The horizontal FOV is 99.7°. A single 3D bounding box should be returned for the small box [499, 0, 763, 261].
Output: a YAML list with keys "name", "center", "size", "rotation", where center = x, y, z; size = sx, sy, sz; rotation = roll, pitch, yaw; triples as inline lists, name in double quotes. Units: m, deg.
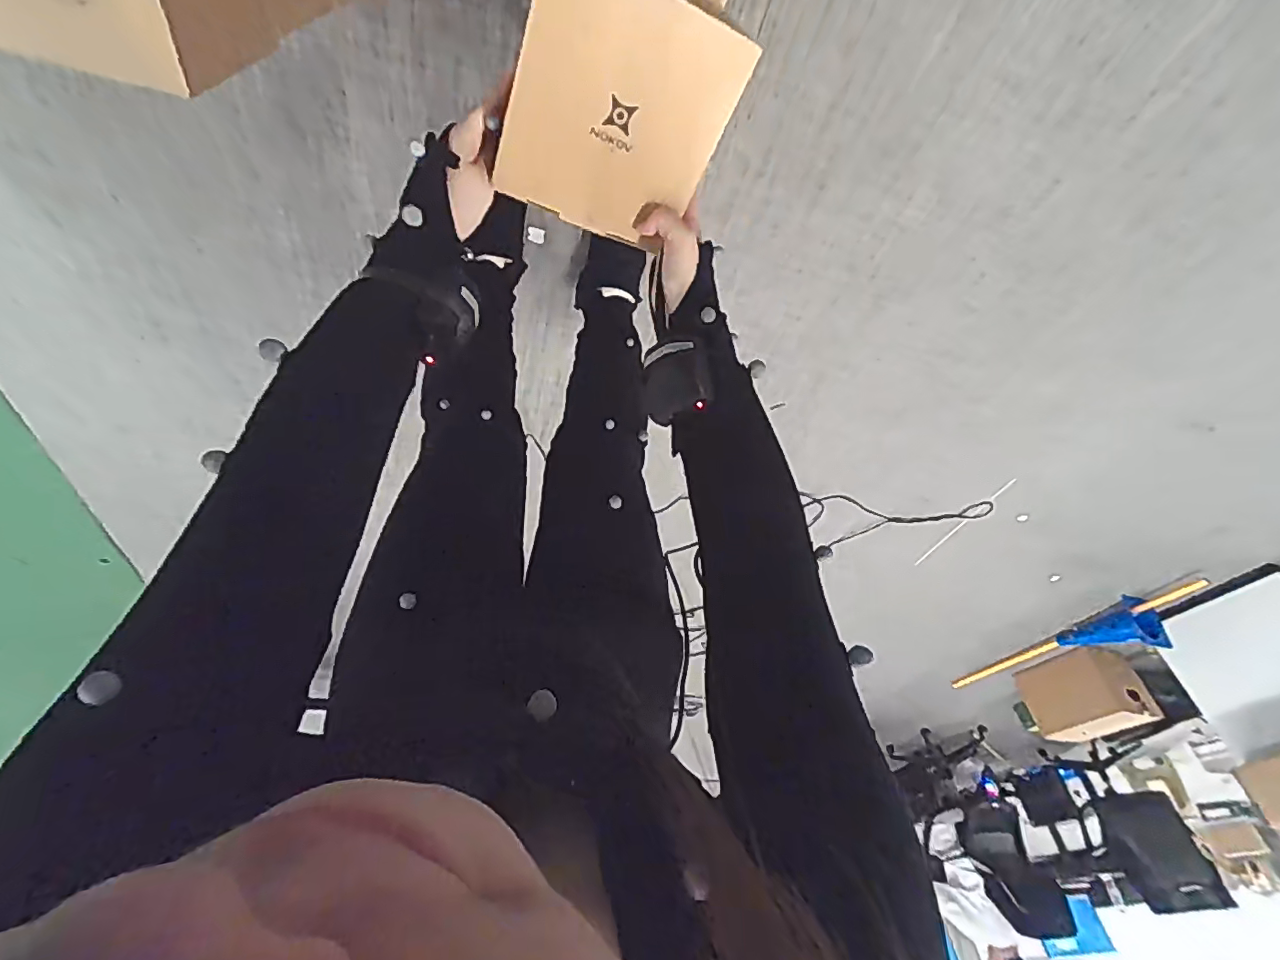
- name: "small box"
  center: [-0.021, -0.339, 0.484]
  size: [0.168, 0.176, 0.179]
  rotation: [13, 137, -20]
